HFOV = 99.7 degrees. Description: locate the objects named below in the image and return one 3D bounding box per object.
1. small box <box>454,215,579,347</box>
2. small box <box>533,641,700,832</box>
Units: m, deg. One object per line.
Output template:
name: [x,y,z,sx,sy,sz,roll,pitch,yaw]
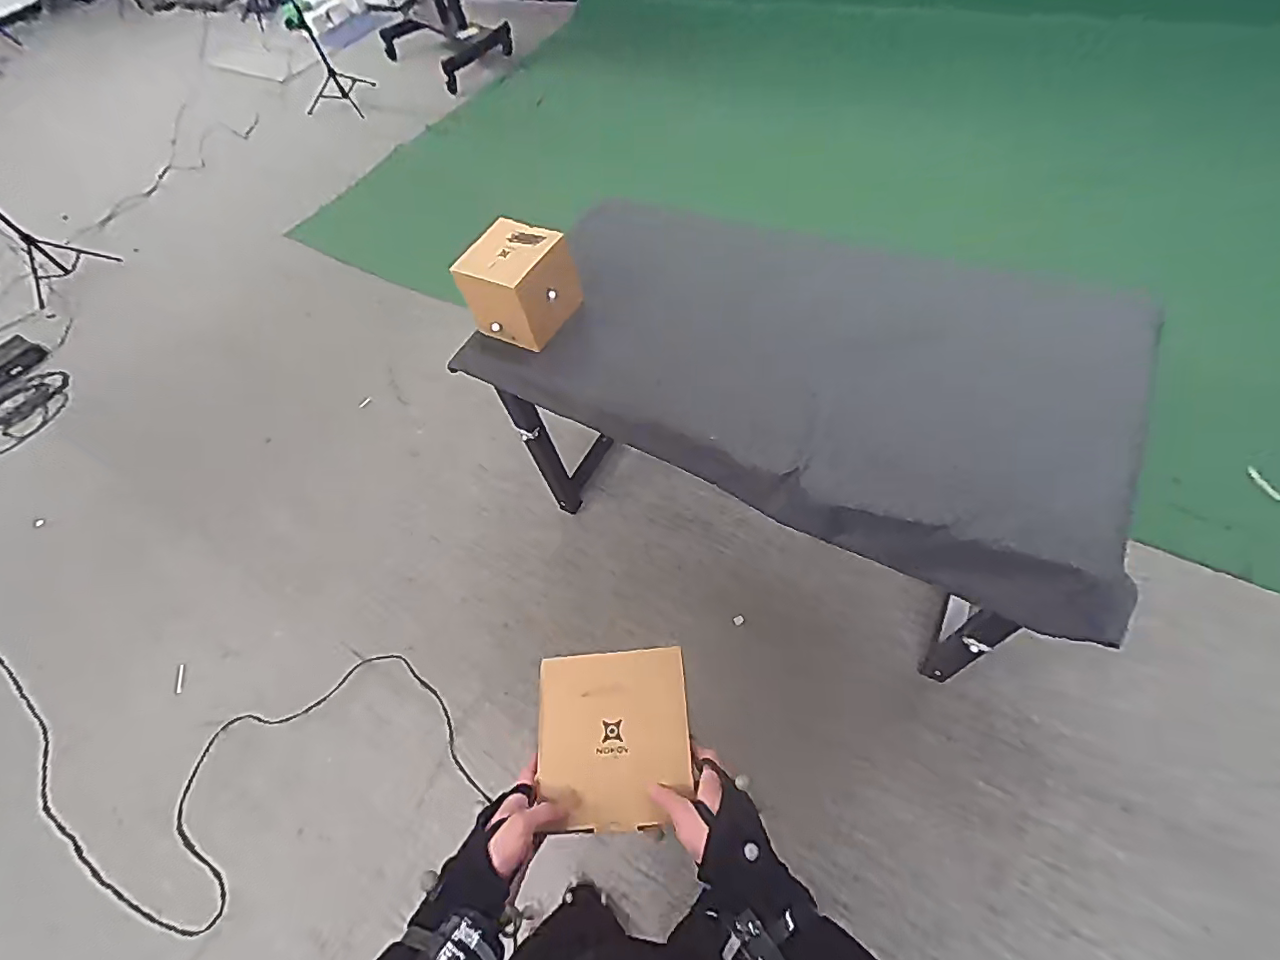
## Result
small box: [-0.242,-0.409,1.117,0.168,0.176,0.179,23,65,21]
small box: [-0.020,0.303,0.638,0.168,0.176,0.179,-6,59,4]
